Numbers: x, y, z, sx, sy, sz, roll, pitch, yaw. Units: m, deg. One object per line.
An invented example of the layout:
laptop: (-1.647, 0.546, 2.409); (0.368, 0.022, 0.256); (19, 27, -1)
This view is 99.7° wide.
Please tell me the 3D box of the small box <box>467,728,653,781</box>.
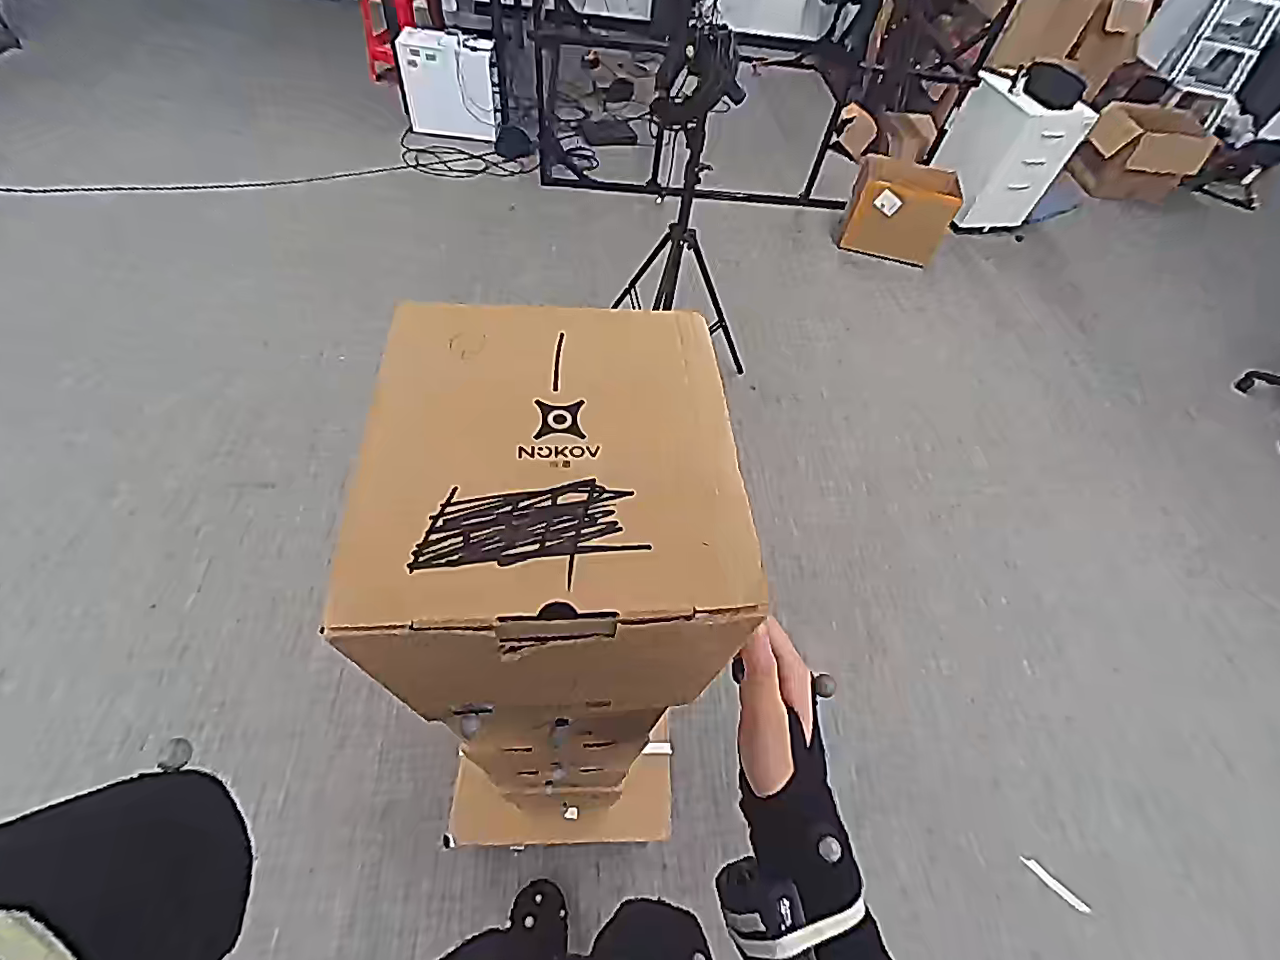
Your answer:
small box: (-0.082, 0.213, 0.584); (0.168, 0.176, 0.179); (0, 56, -7)

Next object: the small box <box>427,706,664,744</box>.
small box: (-0.065, 0.116, 0.453); (0.168, 0.176, 0.179); (0, 56, -8)

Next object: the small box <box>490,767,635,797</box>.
small box: (-0.099, 0.310, 0.716); (0.168, 0.176, 0.179); (1, 56, -7)

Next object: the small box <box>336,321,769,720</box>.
small box: (-0.043, 0.032, 0.313); (0.168, 0.176, 0.179); (-1, 56, -8)

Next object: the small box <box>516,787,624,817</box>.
small box: (-0.124, 0.505, 0.977); (0.179, 0.176, 0.168); (1, 56, -8)
